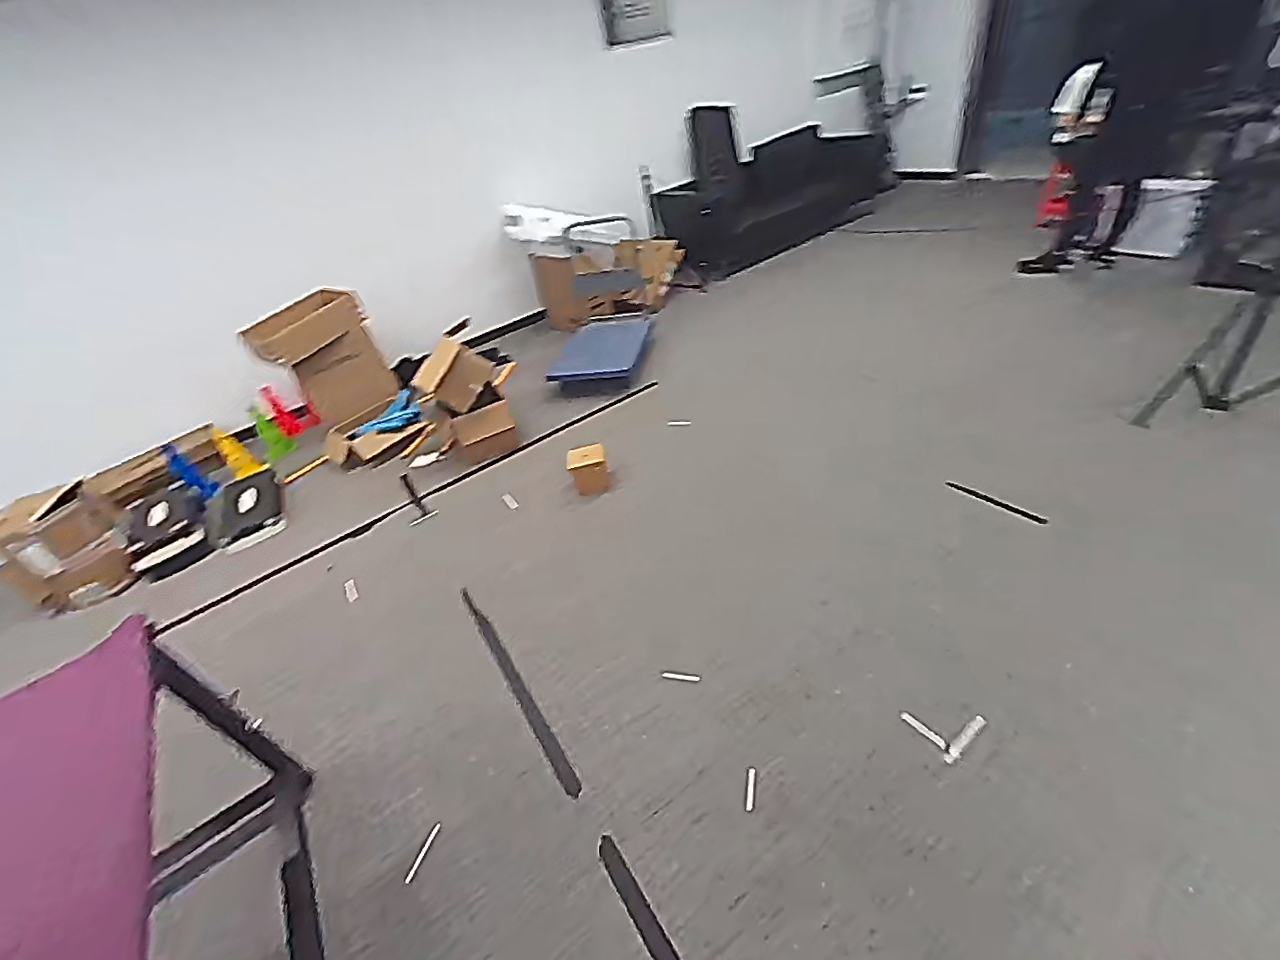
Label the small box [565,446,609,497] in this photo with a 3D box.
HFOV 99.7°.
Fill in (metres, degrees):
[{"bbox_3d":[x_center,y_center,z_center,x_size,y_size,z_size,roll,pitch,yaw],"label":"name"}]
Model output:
[{"bbox_3d":[-0.261,-0.039,2.667,0.179,0.176,0.168,-14,35,-2],"label":"small box"}]
